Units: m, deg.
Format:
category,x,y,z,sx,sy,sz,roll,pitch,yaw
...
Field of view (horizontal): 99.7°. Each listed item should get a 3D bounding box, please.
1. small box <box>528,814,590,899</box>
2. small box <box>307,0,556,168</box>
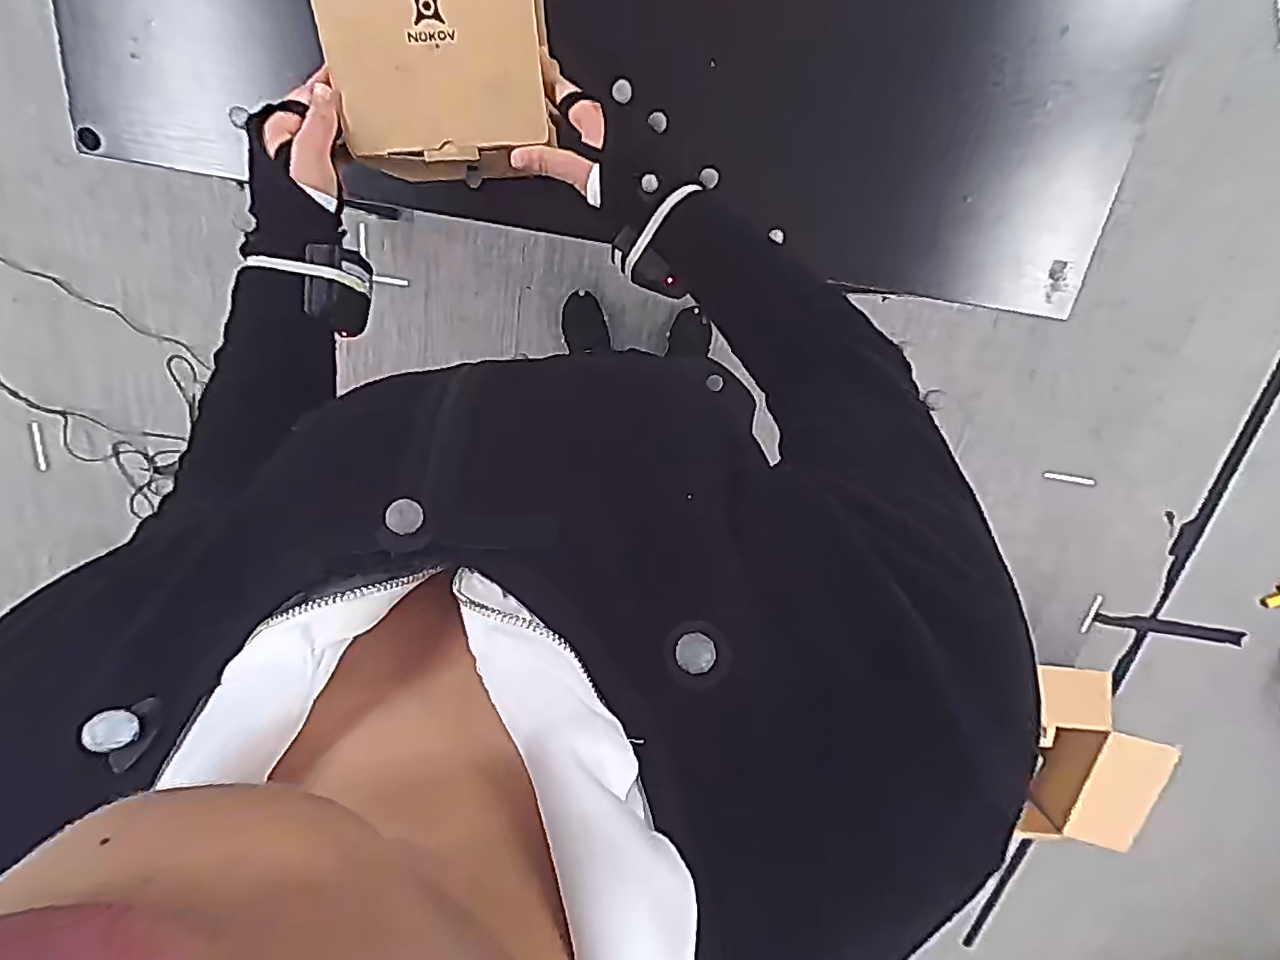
category,x,y,z,sx,sy,sz,roll,pitch,yaw
small box,-0.271,1.282,1.850,0.179,0.176,0.168,10,107,-3
small box,-0.168,-0.382,0.476,0.168,0.176,0.179,-5,115,-3
